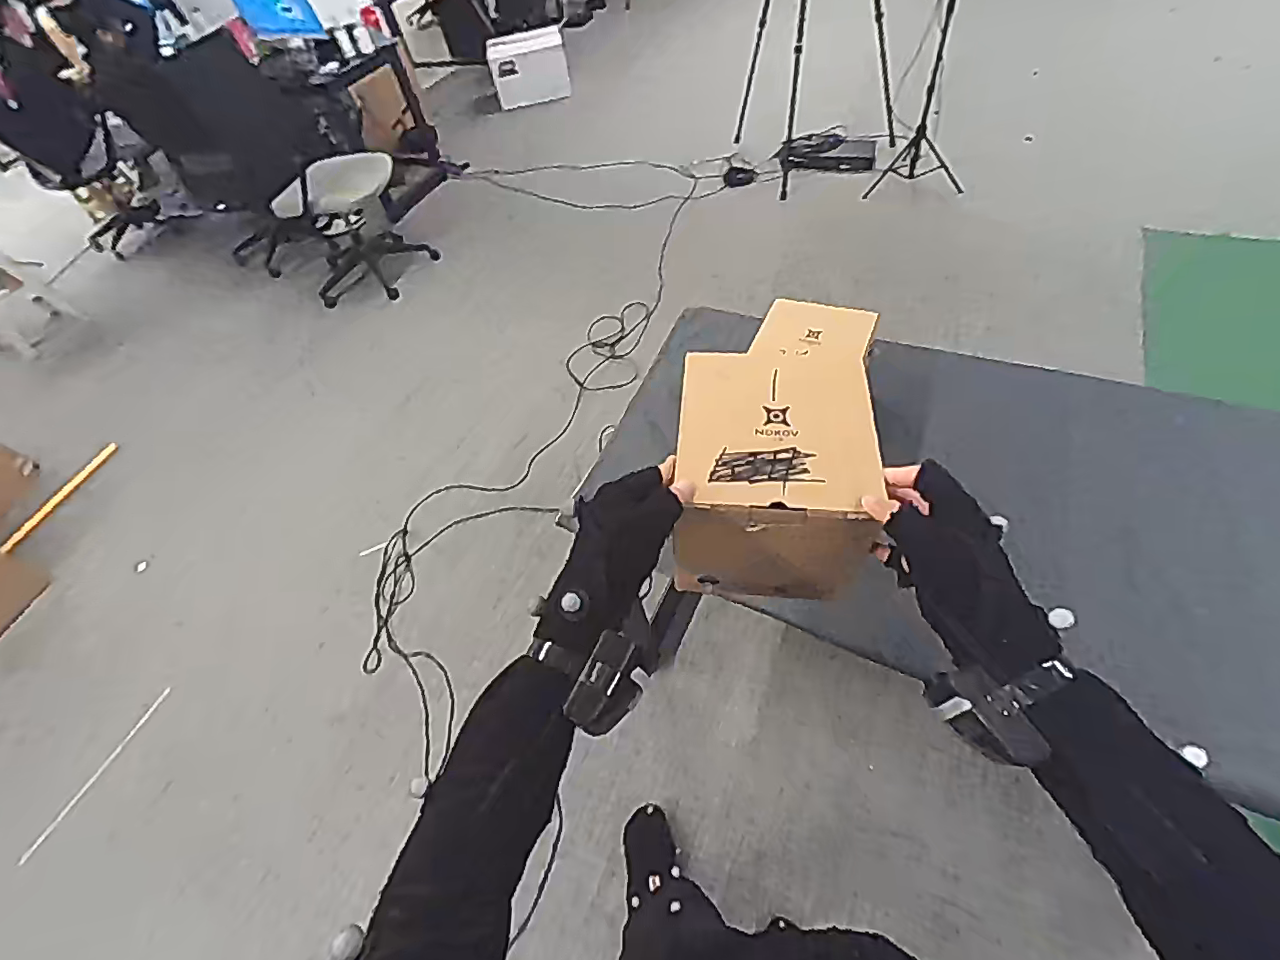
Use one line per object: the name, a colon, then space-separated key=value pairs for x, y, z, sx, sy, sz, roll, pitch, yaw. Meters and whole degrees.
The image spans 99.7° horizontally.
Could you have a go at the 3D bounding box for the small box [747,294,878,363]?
small box: x=0.274 y=-0.175 z=0.895 sx=0.168 sy=0.176 sz=0.179 roll=17 pitch=59 yaw=21

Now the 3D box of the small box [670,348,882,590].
small box: x=0.122 y=-0.006 z=0.531 sx=0.168 sy=0.176 sz=0.179 roll=4 pitch=56 yaw=7
